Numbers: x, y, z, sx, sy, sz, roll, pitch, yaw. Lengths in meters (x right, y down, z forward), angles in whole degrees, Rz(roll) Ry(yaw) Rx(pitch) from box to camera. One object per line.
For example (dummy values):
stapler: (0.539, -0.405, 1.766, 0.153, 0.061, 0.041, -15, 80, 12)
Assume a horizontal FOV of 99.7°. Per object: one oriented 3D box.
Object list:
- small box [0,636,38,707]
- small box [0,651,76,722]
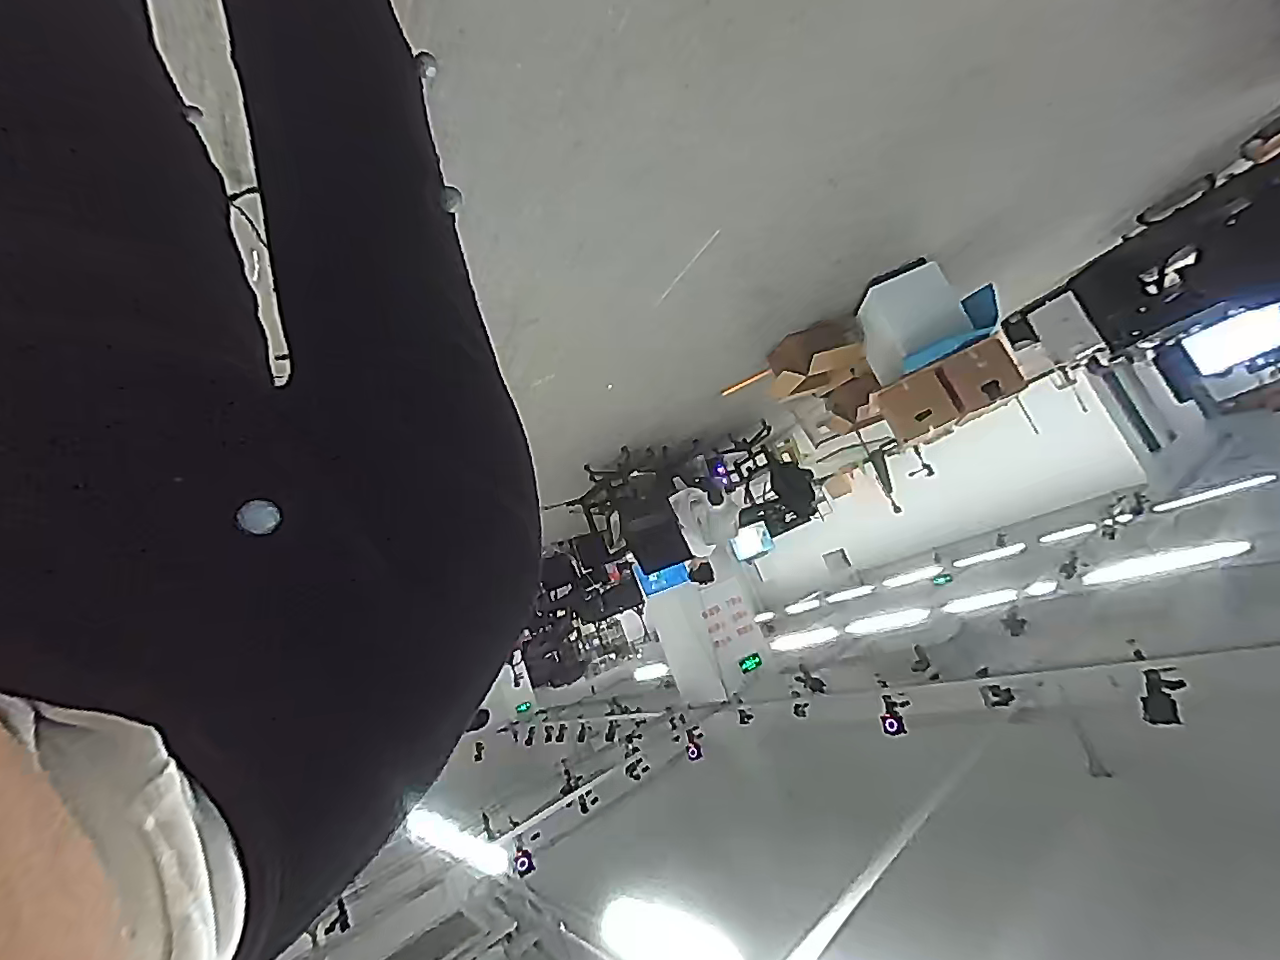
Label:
small box: (-1.828, 0.548, 1.505, 0.168, 0.176, 0.179, -13, 166, -38)
small box: (-2.011, 0.676, 1.781, 0.168, 0.176, 0.179, -15, 167, -36)
